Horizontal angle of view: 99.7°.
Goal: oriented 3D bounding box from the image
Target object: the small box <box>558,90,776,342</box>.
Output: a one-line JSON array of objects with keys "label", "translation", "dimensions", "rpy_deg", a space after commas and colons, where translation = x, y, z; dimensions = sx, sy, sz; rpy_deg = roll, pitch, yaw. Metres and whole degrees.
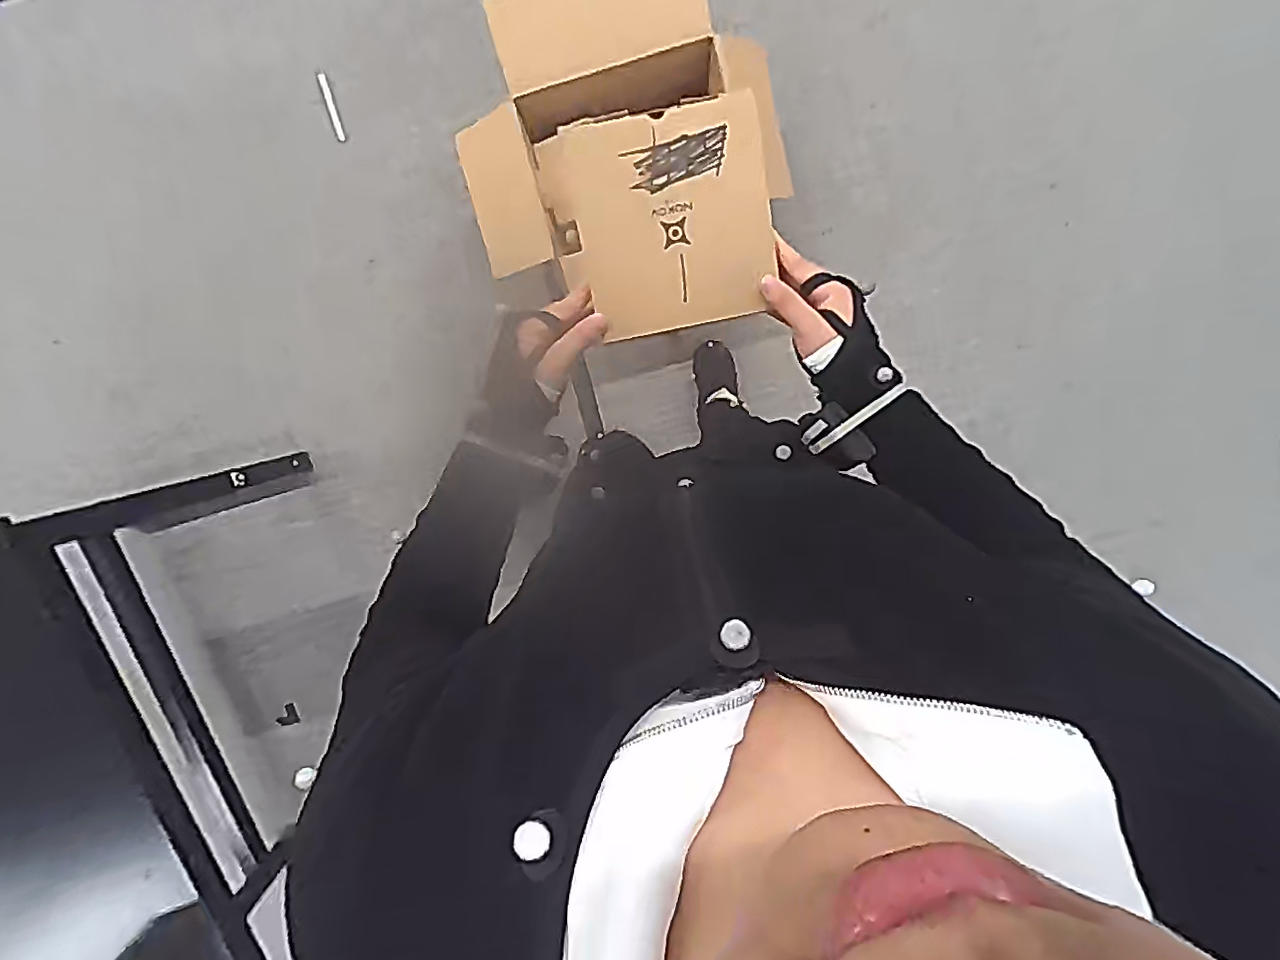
[{"label": "small box", "translation": [0.022, -0.241, 0.541], "dimensions": [0.168, 0.176, 0.179], "rpy_deg": [-12, 104, 1]}]
